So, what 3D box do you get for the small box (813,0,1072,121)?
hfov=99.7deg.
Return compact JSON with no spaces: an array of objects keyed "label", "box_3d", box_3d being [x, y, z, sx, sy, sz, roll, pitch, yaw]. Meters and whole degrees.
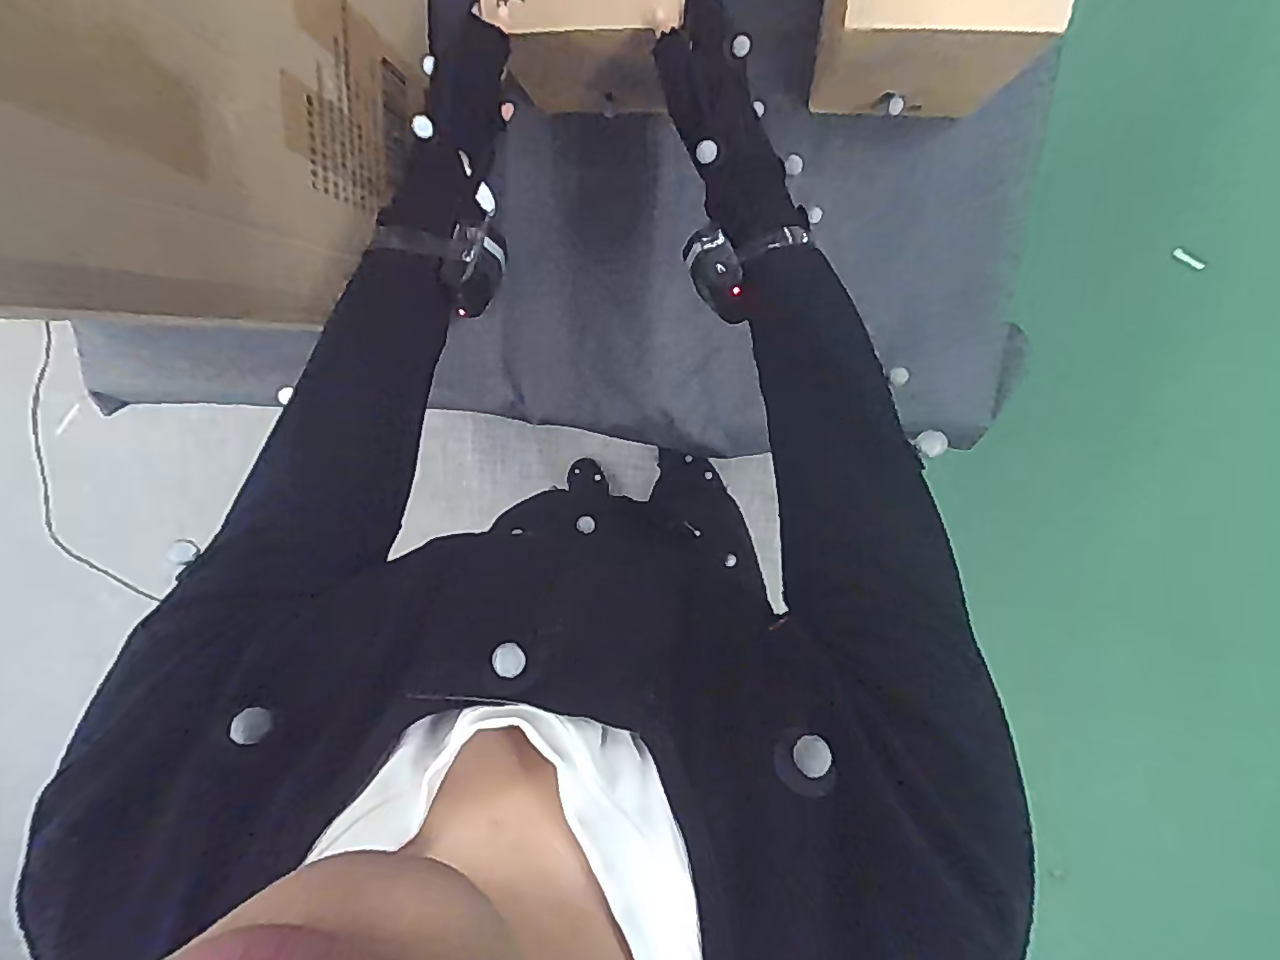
[{"label":"small box","box_3d":[0.260,-0.452,0.477,0.168,0.176,0.179,6,105,6]}]
